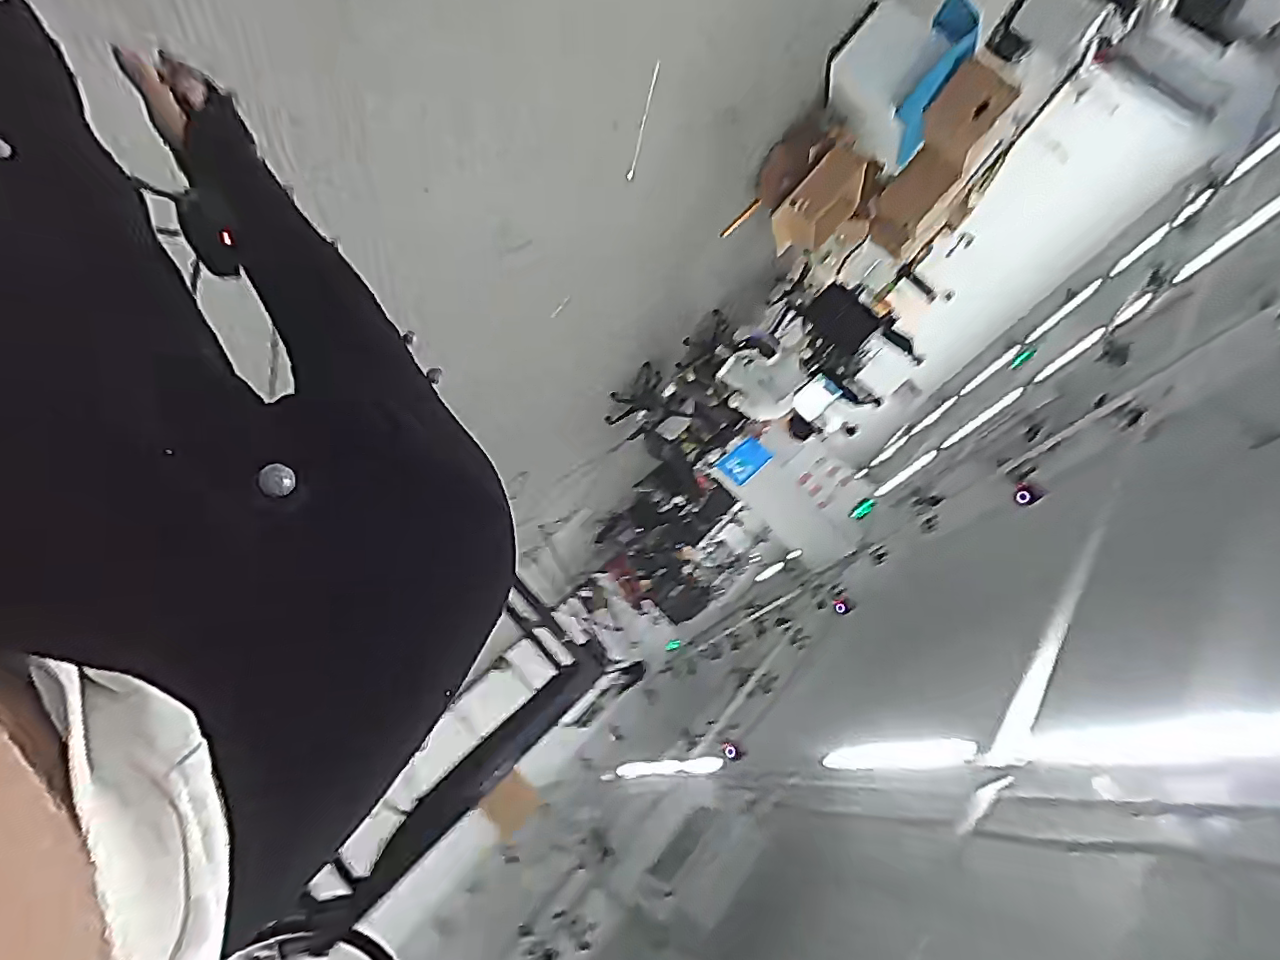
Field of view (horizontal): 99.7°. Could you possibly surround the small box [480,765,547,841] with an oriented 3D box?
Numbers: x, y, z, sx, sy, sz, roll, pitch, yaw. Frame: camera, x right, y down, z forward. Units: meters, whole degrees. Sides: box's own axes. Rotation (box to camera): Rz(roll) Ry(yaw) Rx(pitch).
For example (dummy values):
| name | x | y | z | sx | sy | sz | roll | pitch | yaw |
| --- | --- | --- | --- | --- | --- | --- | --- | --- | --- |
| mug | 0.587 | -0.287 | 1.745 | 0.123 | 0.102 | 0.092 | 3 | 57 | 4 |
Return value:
| name | x | y | z | sx | sy | sz | roll | pitch | yaw |
| --- | --- | --- | --- | --- | --- | --- | --- | --- | --- |
| small box | -0.476 | 1.201 | 2.011 | 0.179 | 0.176 | 0.168 | -39 | 169 | -34 |
